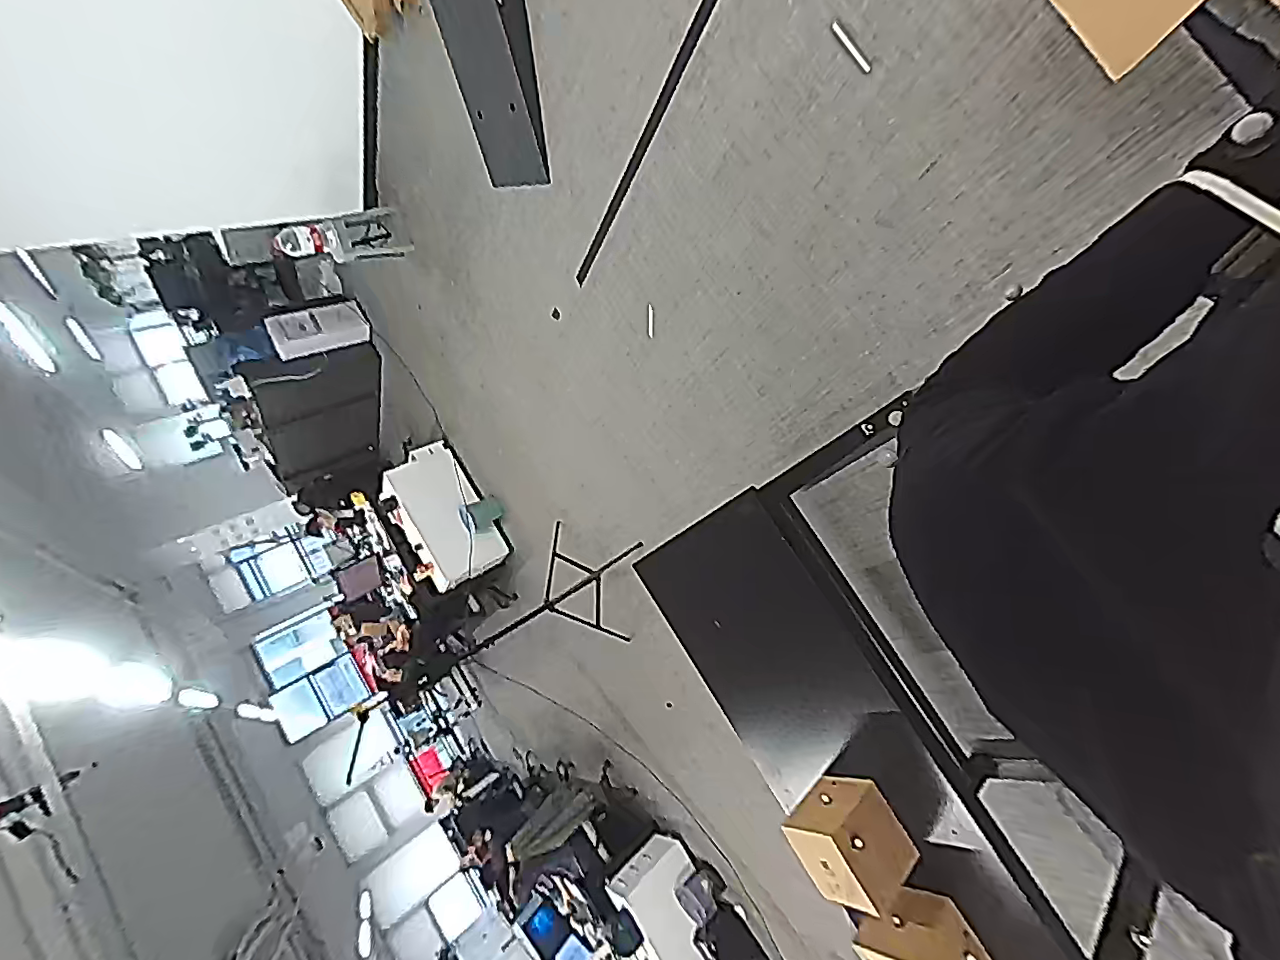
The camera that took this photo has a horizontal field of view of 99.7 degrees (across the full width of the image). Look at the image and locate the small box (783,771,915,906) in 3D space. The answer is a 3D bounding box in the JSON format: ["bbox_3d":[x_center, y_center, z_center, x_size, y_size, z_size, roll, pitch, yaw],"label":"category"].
[{"bbox_3d":[0.458,0.770,1.187,0.179,0.176,0.168,58,147,8],"label":"small box"}]

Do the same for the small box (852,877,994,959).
[{"bbox_3d":[0.601,0.992,1.152,0.168,0.176,0.179,56,146,9],"label":"small box"}]
